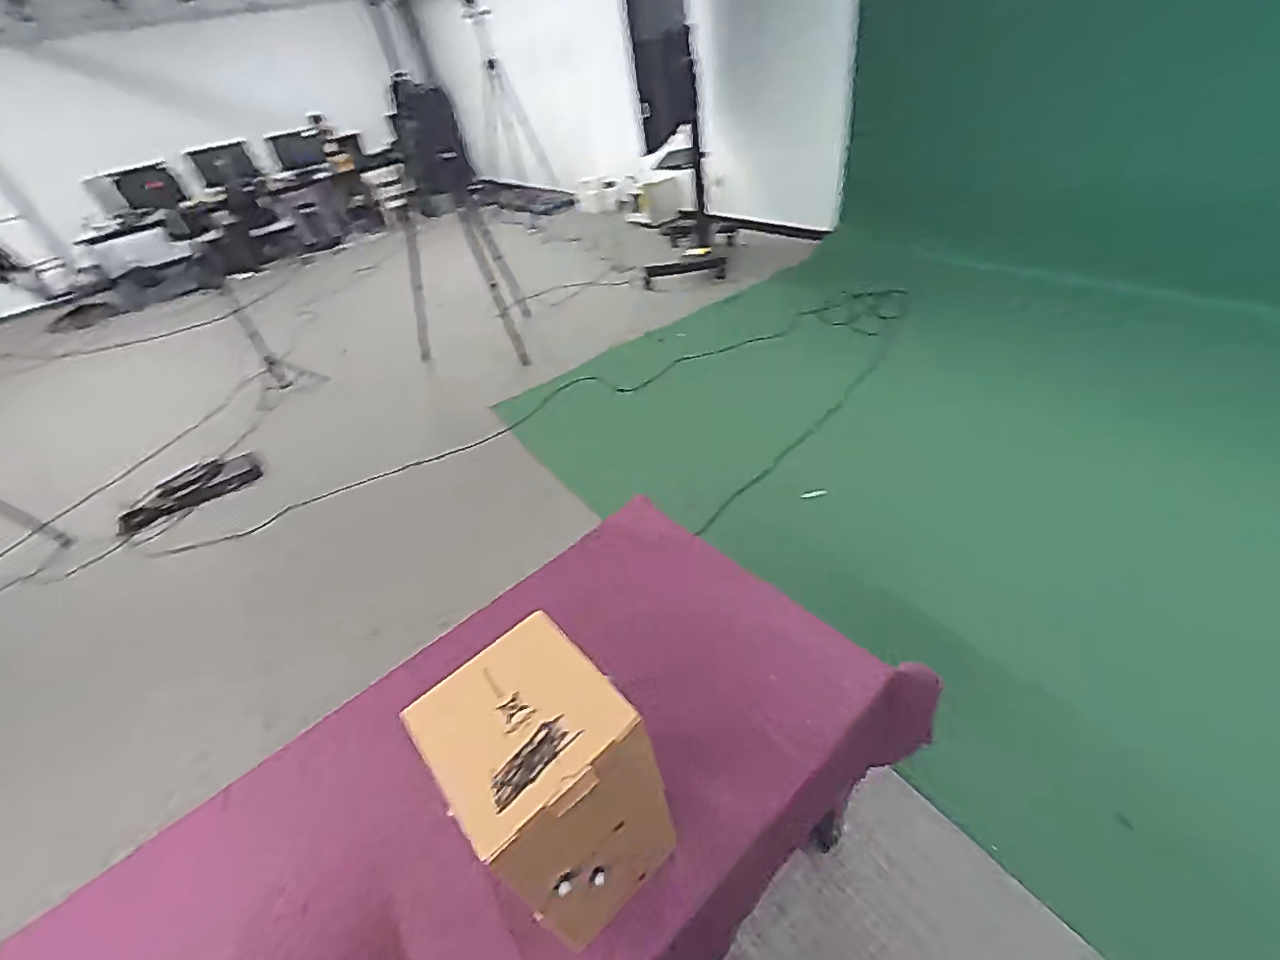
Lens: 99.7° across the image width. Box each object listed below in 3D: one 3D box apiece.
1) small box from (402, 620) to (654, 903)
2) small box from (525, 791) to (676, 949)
[{"bbox_3d":[-0.105,0.289,0.558,0.168,0.176,0.179,-35,44,-26],"label":"small box"},{"bbox_3d":[-0.078,0.415,0.661,0.168,0.176,0.179,-36,44,-24],"label":"small box"}]
